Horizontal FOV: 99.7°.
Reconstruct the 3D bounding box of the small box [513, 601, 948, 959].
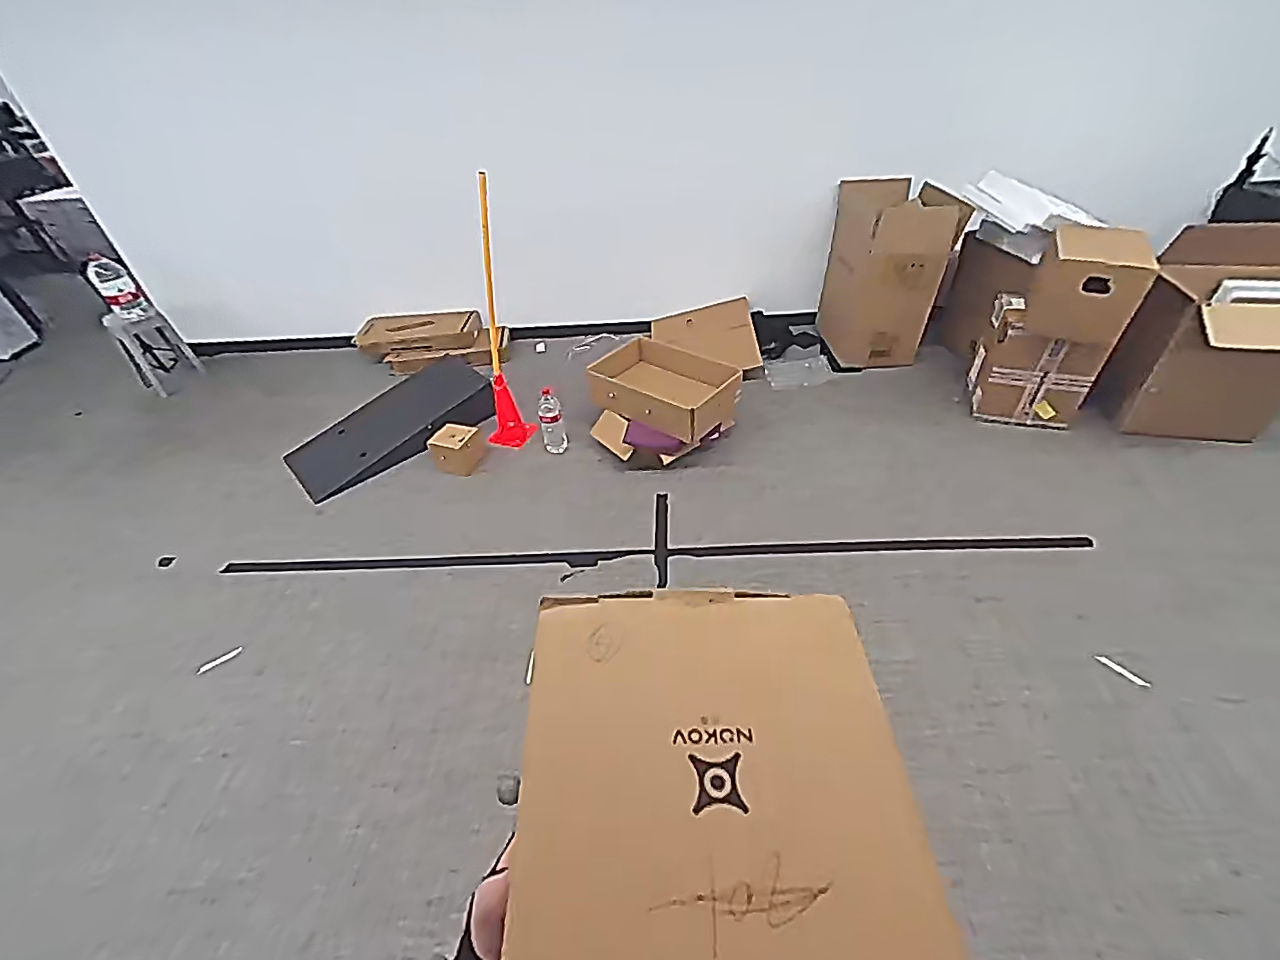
[{"bbox_3d":[0.028,0.186,0.301,0.168,0.176,0.179,1,48,-4],"label":"small box"}]
